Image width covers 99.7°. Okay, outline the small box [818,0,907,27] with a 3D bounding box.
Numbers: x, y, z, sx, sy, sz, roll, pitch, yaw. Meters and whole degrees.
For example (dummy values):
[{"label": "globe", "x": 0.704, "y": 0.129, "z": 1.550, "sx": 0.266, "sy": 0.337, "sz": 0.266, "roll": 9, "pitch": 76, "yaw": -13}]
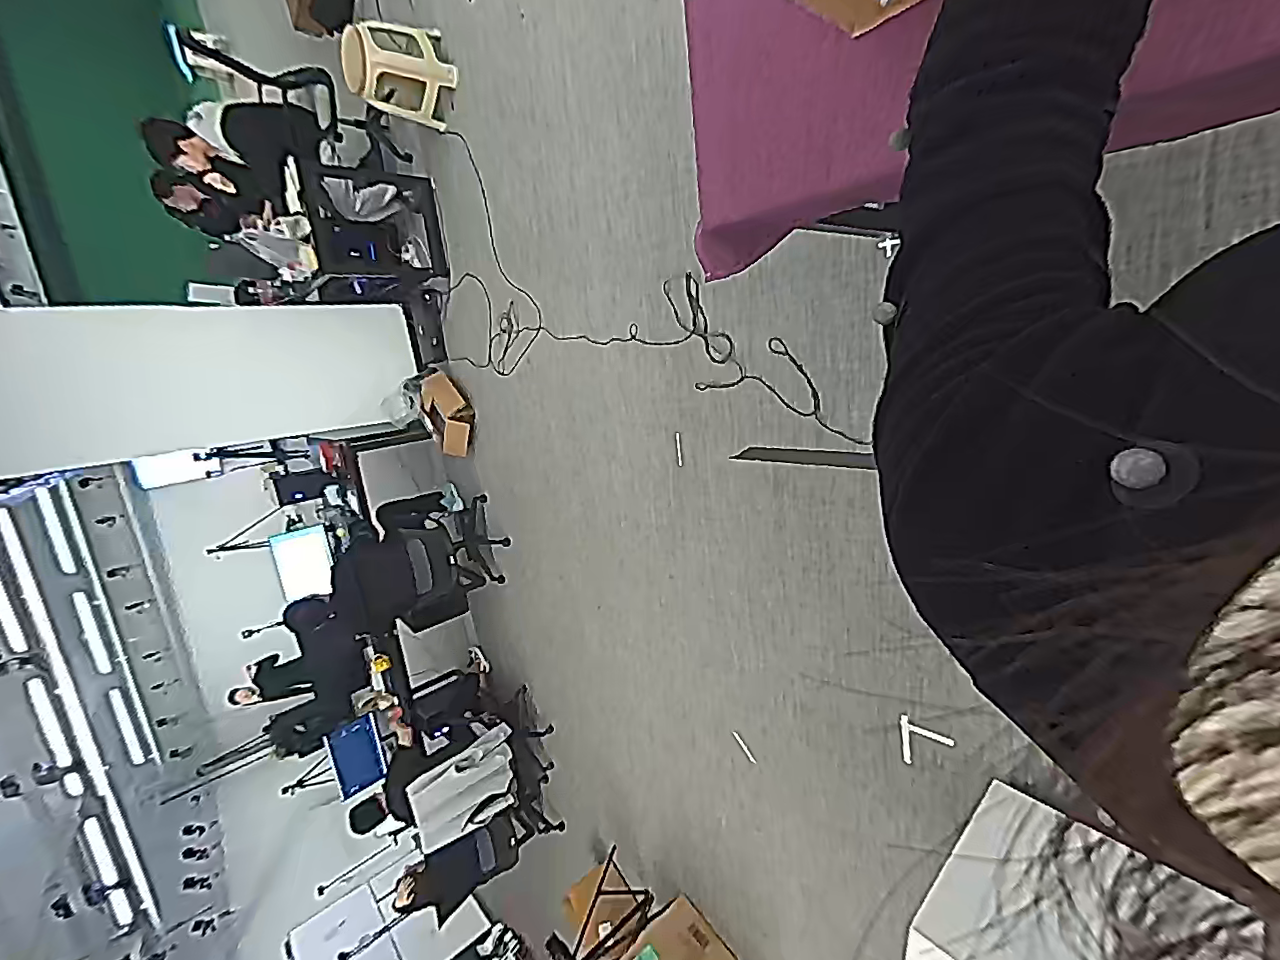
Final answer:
[{"label": "small box", "x": 0.267, "y": -0.662, "z": 0.599, "sx": 0.168, "sy": 0.176, "sz": 0.179, "roll": 6, "pitch": 109, "yaw": 48}]
